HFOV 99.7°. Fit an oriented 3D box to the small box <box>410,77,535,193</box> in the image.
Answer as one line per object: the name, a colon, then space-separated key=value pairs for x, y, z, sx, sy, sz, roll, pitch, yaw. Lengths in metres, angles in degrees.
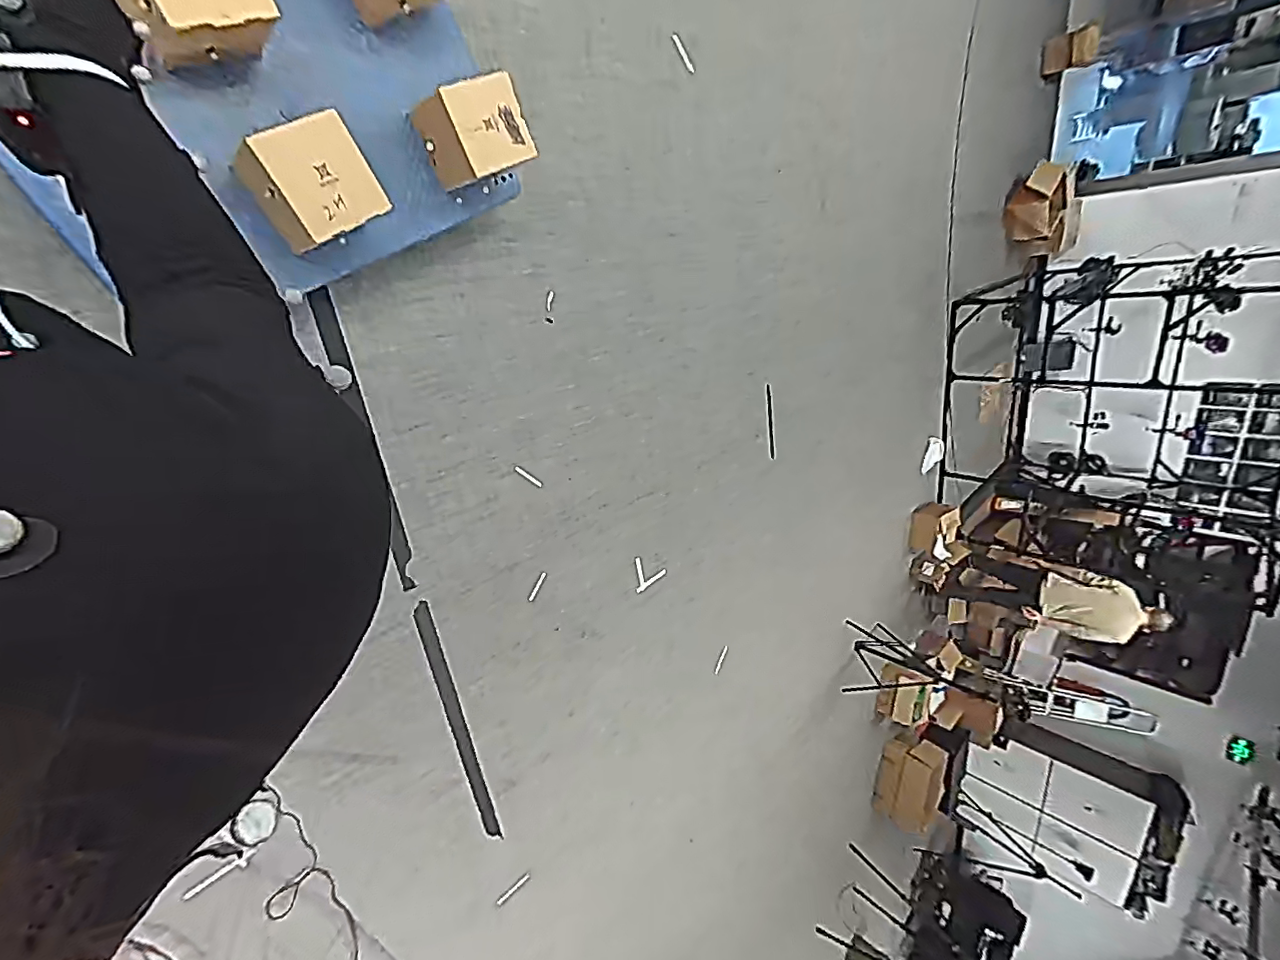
small box: x=-0.373 y=-0.762 z=1.204 sx=0.179 sy=0.176 sz=0.168 roll=-40 pitch=125 yaw=-29

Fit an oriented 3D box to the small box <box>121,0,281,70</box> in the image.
small box: x=-0.721 y=-0.791 z=0.855 sx=0.168 sy=0.176 sz=0.179 roll=-41 pitch=127 yaw=-31

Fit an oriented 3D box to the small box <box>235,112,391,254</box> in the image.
small box: x=-0.617 y=-0.549 z=1.018 sx=0.168 sy=0.176 sz=0.179 roll=-44 pitch=127 yaw=-28
